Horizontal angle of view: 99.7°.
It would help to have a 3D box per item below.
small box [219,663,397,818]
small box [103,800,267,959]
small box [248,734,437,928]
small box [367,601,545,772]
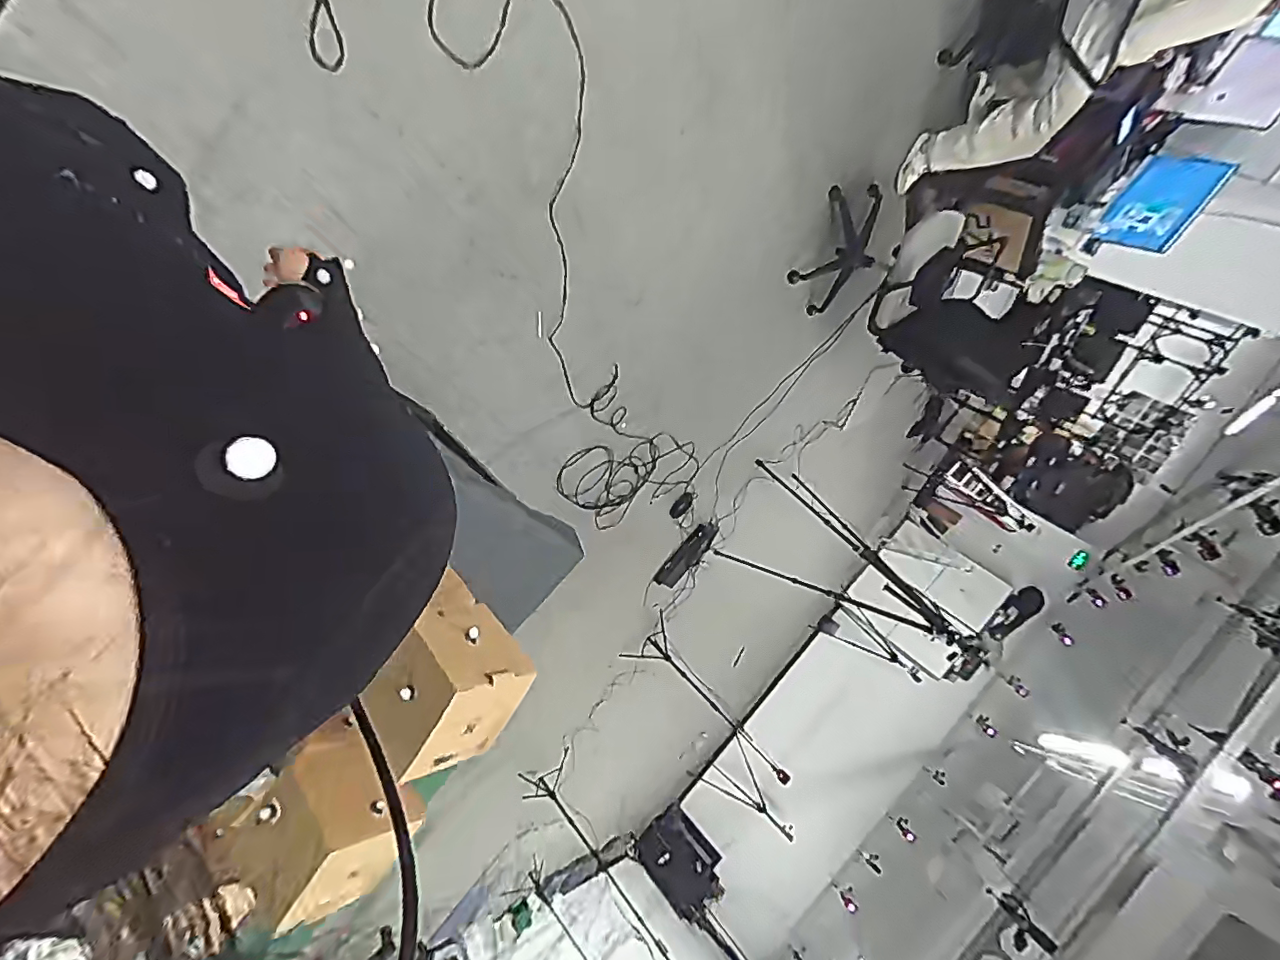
[{"bbox_3d":[-0.571,0.440,0.936,0.168,0.176,0.179,-49,149,-5],"label":"small box"},{"bbox_3d":[-0.778,0.697,0.939,0.179,0.176,0.168,-51,150,-1],"label":"small box"},{"bbox_3d":[-0.466,0.530,0.851,0.168,0.176,0.179,-55,148,5],"label":"small box"},{"bbox_3d":[-0.289,0.301,0.839,0.168,0.176,0.179,16,108,-57],"label":"small box"}]
